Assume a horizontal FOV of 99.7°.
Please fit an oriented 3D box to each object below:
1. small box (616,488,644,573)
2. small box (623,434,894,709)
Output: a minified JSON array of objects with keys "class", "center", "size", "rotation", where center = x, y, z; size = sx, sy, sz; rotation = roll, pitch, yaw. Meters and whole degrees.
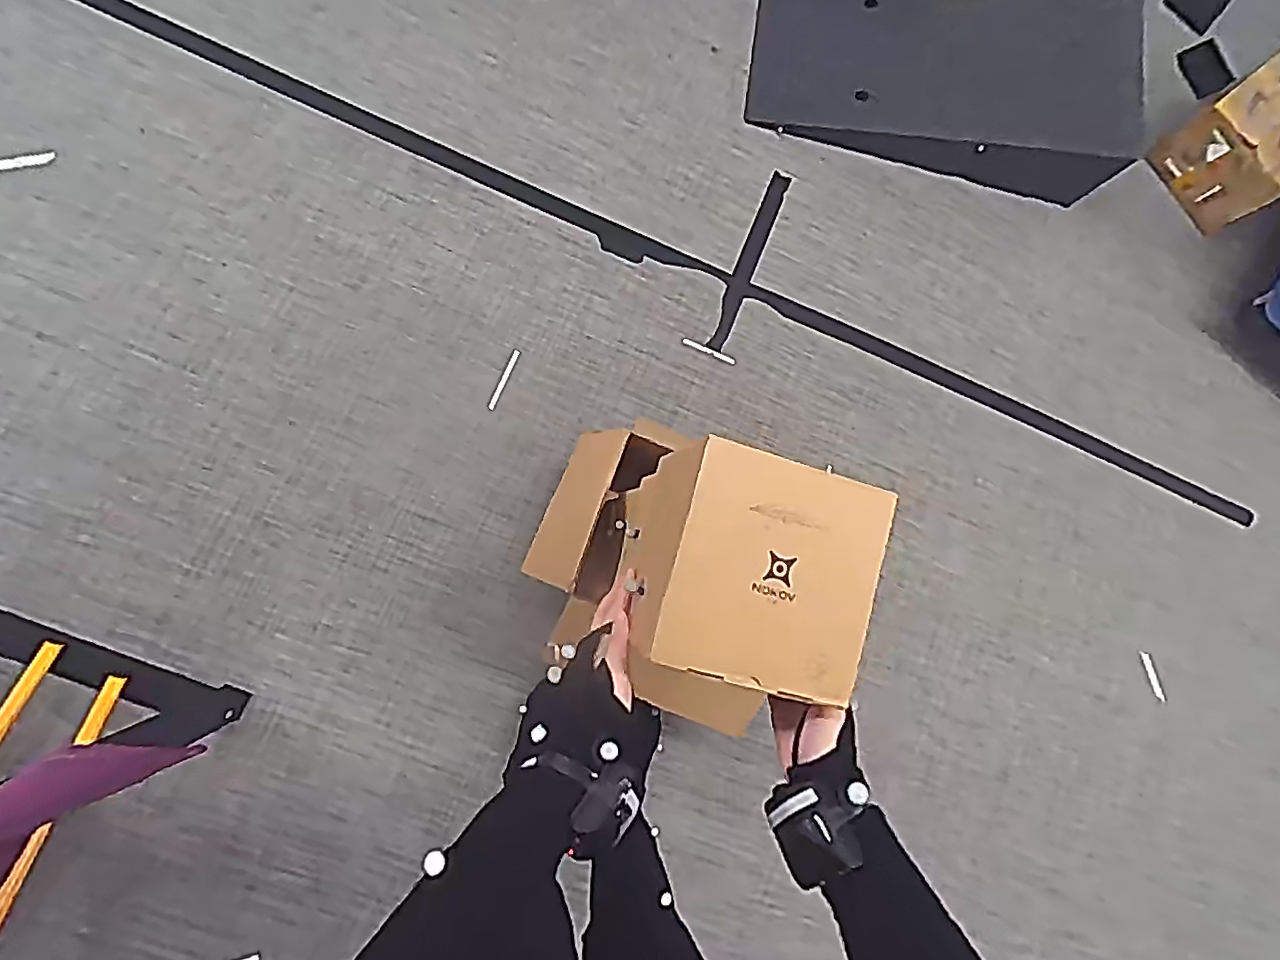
[{"class":"small box","center":[0.052,0.104,0.980],"size":[0.179,0.176,0.168],"rotation":[2,85,-12]},{"class":"small box","center":[0.089,0.075,0.488],"size":[0.168,0.176,0.179],"rotation":[17,83,-9]}]
